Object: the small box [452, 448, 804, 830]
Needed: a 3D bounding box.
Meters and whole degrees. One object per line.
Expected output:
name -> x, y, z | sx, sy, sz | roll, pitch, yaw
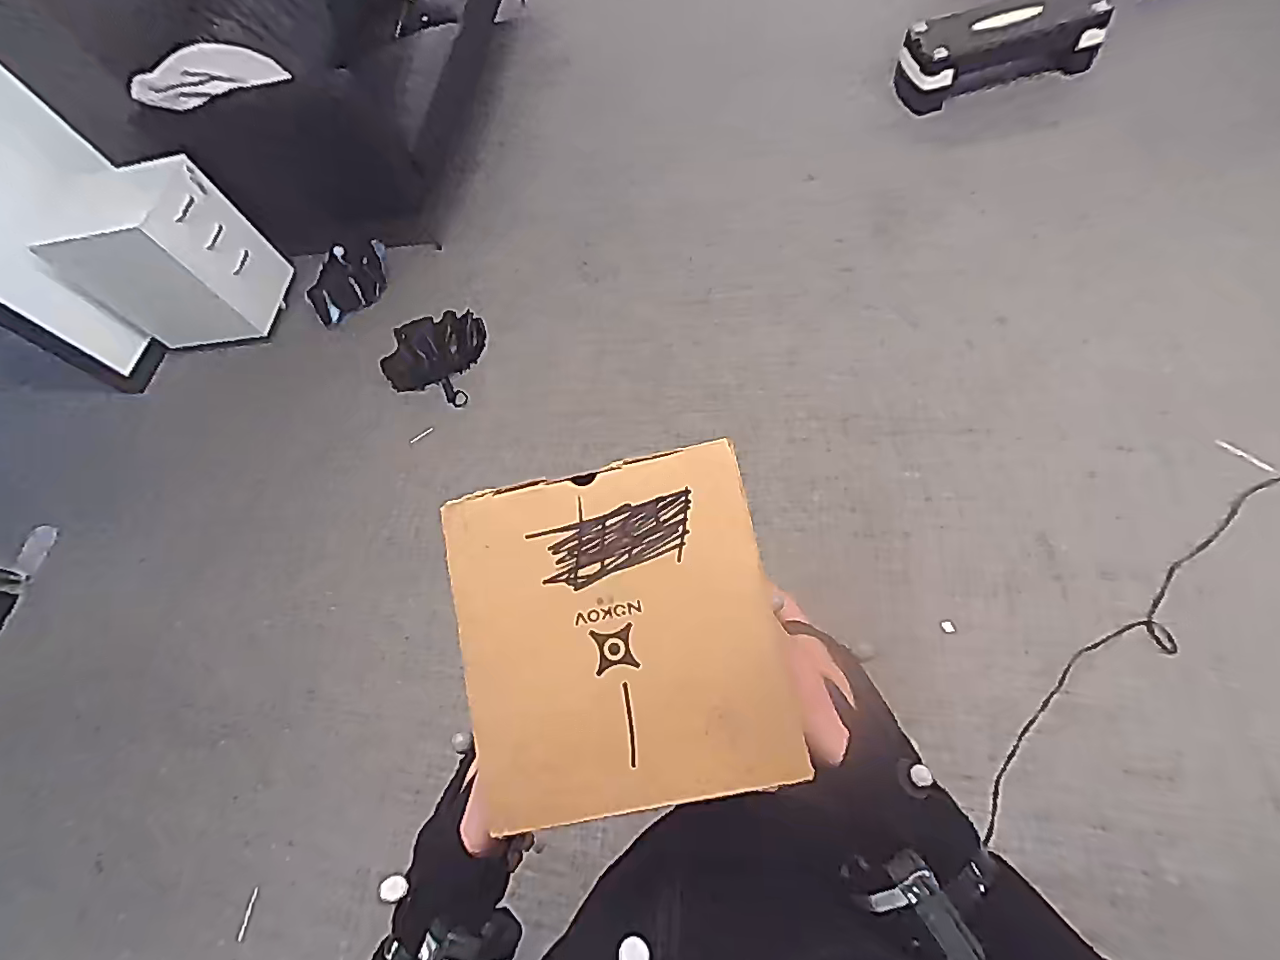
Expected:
small box -> -0.006, 0.094, 0.364 | 0.168, 0.176, 0.179 | -11, 80, 4
